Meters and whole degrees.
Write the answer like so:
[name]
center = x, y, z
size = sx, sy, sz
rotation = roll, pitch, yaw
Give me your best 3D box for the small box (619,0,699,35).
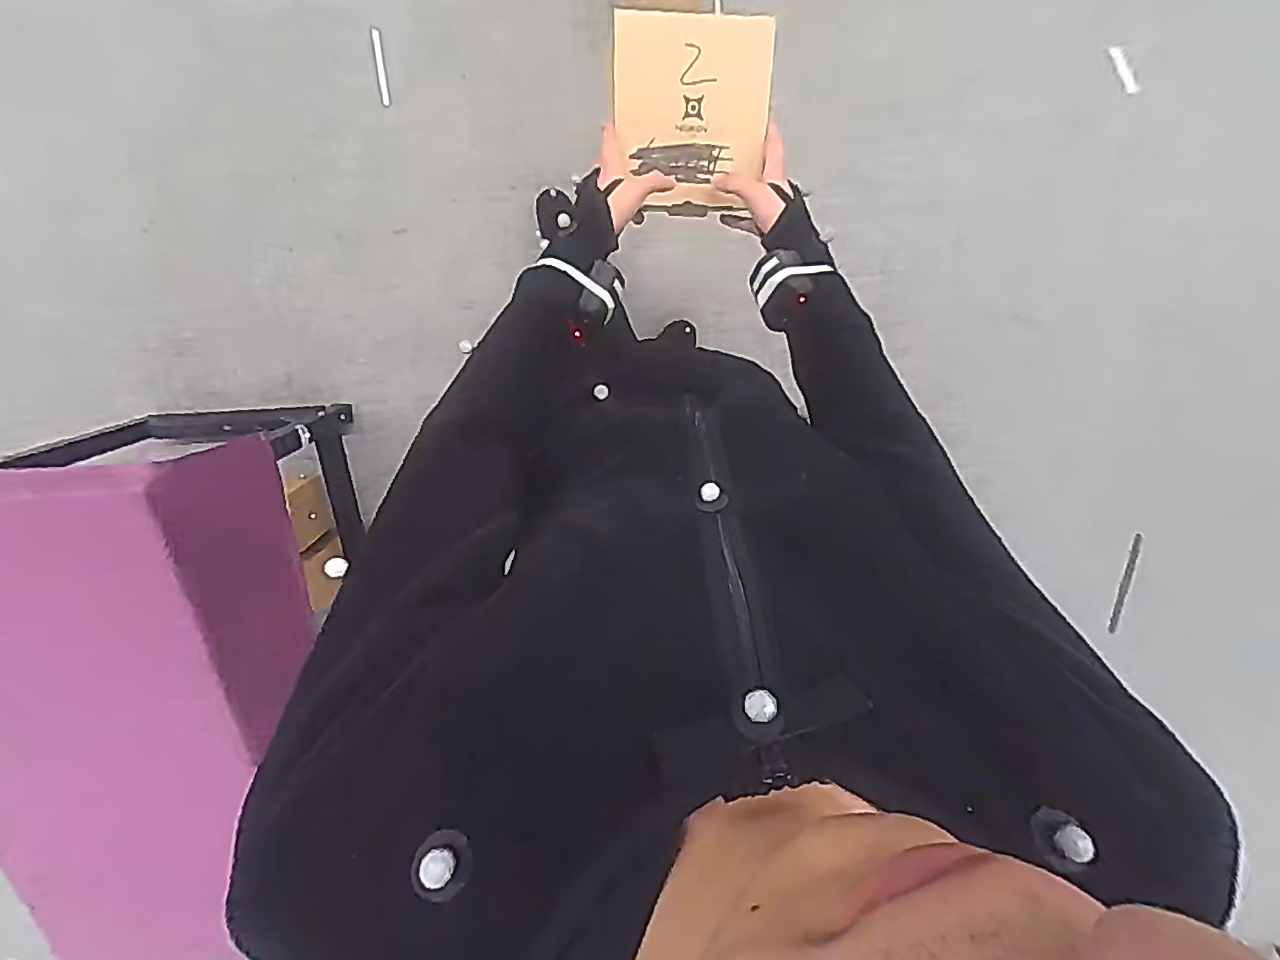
[small box]
center = 0.035, -1.107, 1.168
size = 0.168, 0.176, 0.179
rotation = -6, 111, 0
